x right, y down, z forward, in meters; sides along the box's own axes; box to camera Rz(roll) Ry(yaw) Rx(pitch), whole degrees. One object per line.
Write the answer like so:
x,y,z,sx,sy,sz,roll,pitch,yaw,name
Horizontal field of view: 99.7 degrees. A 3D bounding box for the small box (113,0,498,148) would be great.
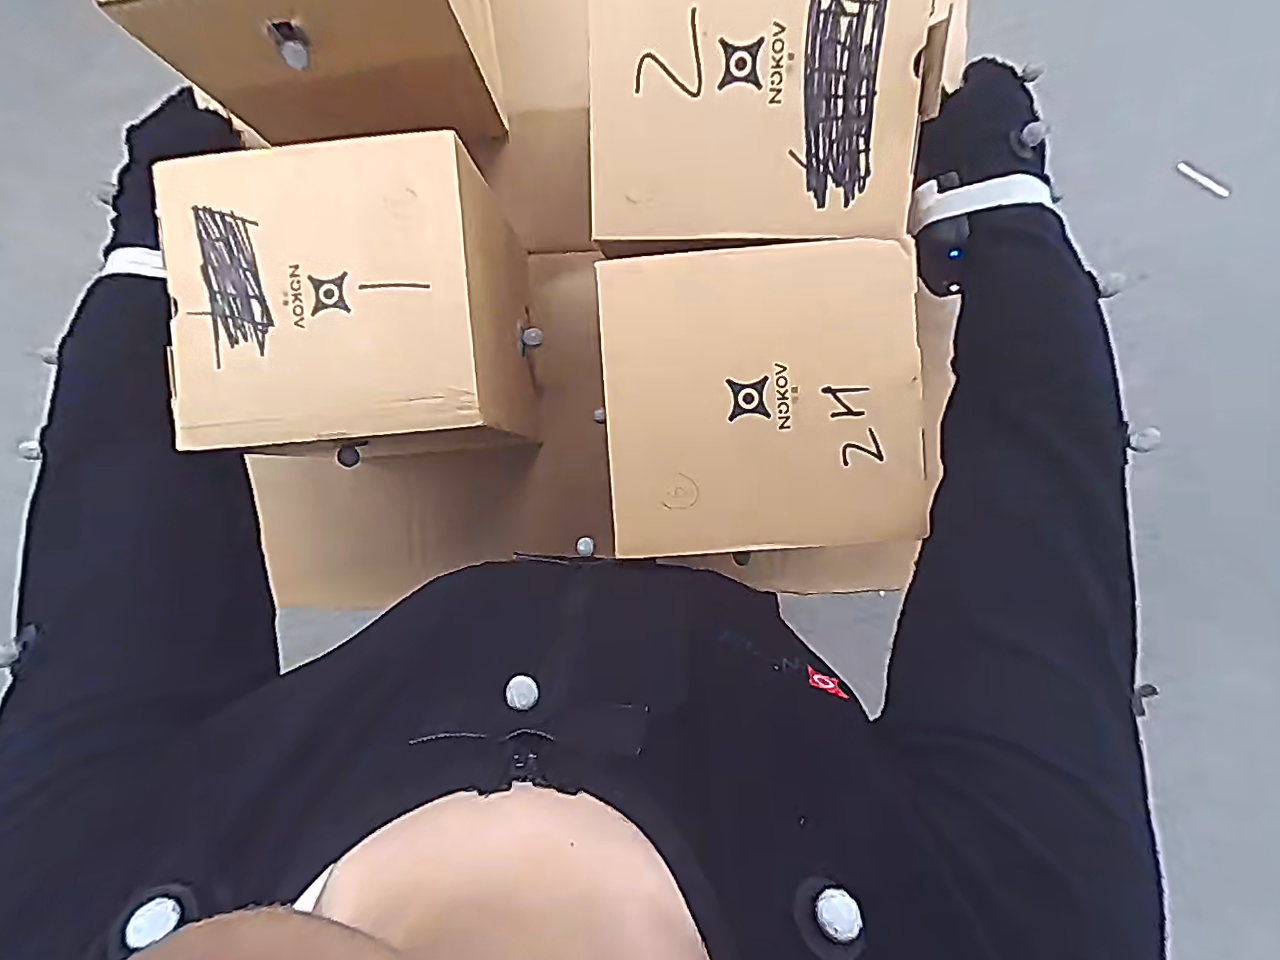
-0.202,-0.349,0.347,0.179,0.176,0.168,-8,94,3,small box
